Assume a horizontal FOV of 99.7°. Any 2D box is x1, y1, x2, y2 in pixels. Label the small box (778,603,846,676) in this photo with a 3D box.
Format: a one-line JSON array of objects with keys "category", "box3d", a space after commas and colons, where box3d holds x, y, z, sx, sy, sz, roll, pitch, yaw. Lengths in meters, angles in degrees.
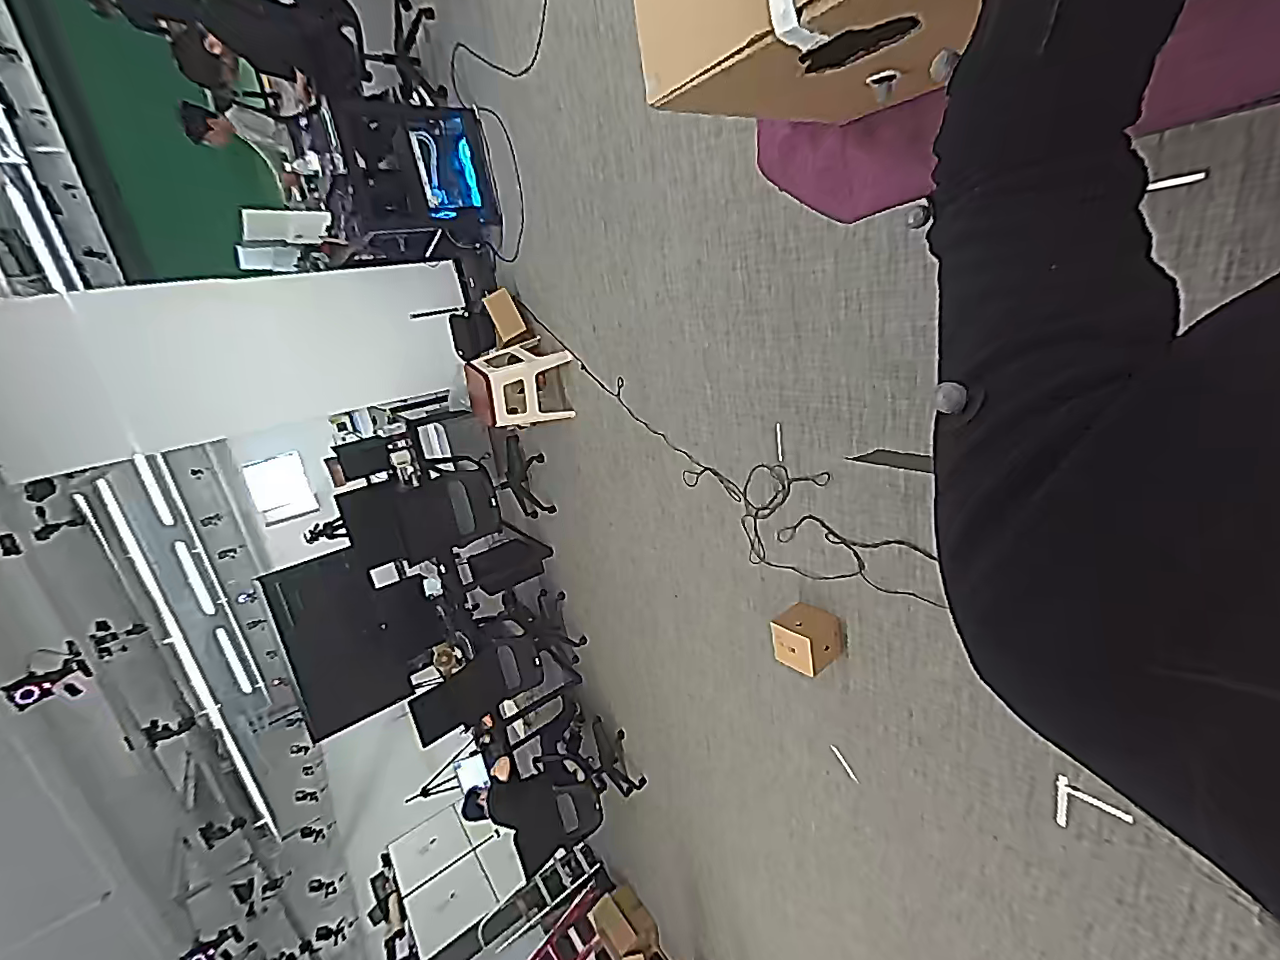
[{"category": "small box", "box3d": [0.631, 0.570, 1.963, 0.179, 0.176, 0.168, 15, 120, 54]}]
